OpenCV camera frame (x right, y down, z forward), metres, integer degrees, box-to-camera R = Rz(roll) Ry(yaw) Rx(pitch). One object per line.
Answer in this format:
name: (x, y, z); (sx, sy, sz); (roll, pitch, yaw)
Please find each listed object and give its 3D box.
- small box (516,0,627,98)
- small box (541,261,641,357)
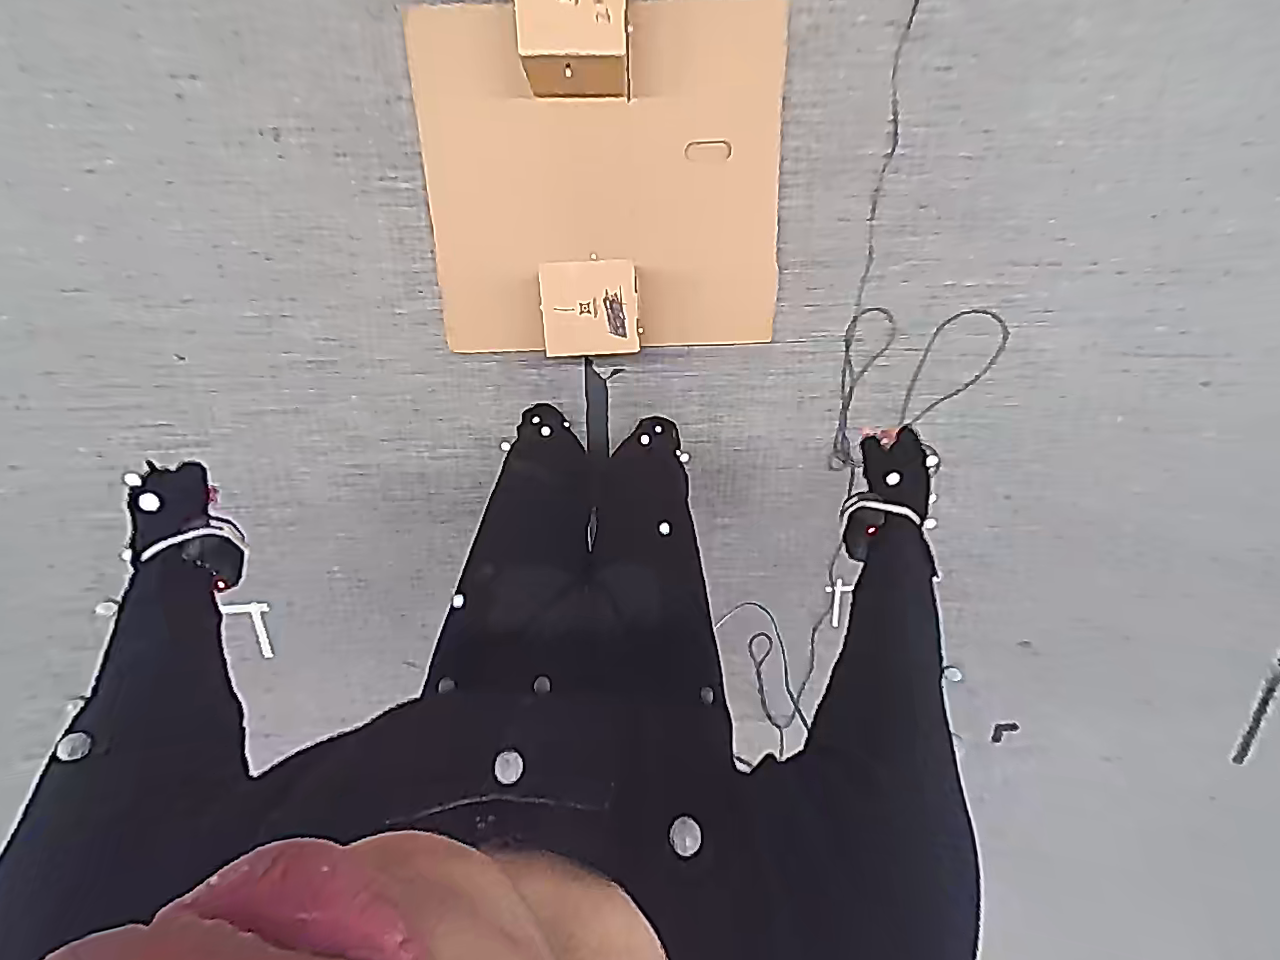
small box: (-0.111, -0.778, 0.924); (0.179, 0.176, 0.168); (-1, 108, -3)
small box: (-0.092, -0.339, 1.067); (0.179, 0.176, 0.168); (-3, 108, -1)
